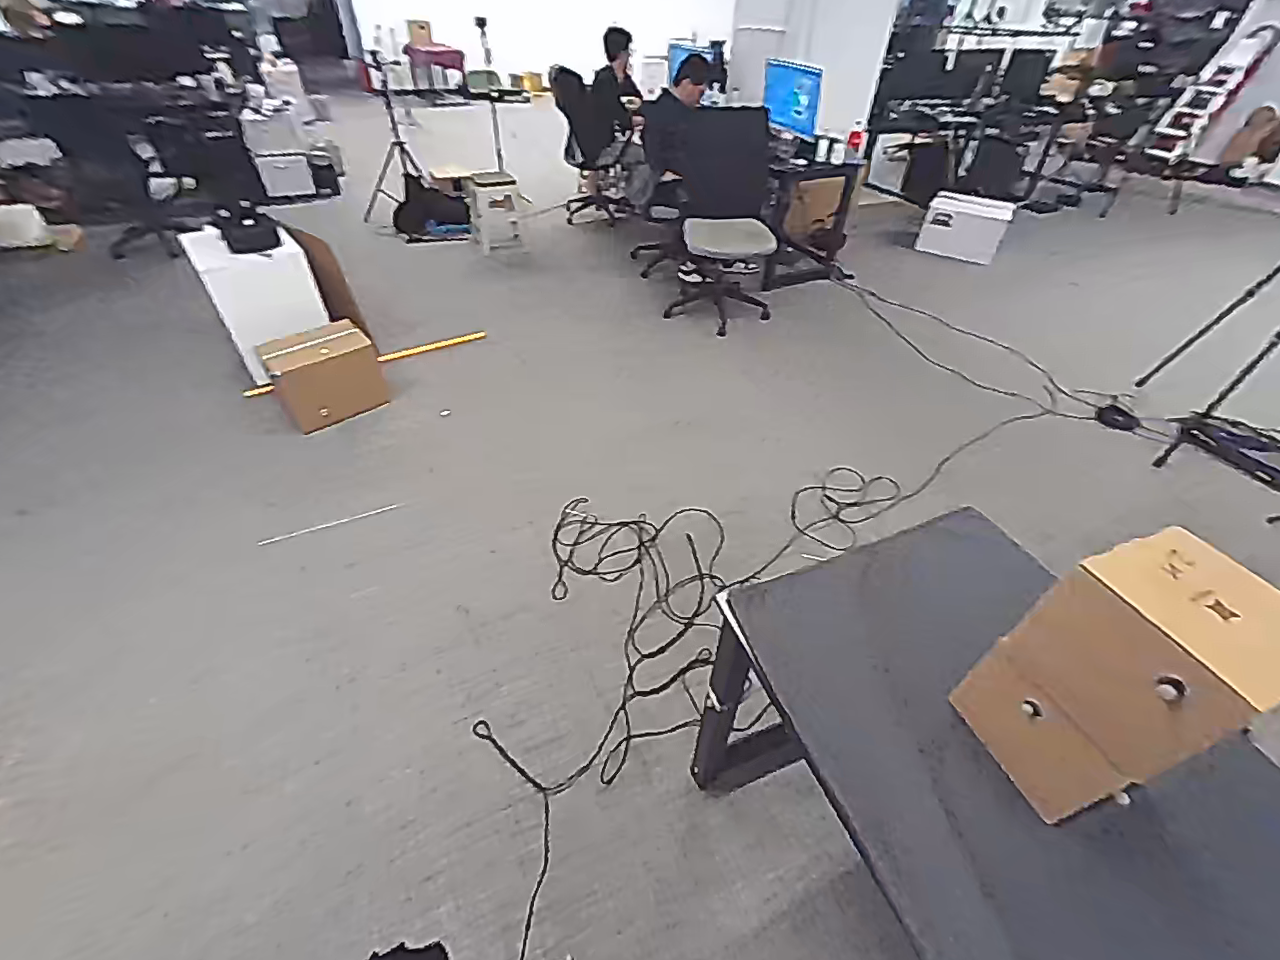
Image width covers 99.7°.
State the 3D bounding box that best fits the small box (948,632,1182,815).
[{"bbox_3d":[0.559,0.304,0.720,0.168,0.176,0.179,-12,44,-16],"label":"small box"}]

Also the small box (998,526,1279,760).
[{"bbox_3d":[0.562,0.185,0.606,0.168,0.176,0.179,-12,44,-18],"label":"small box"}]
